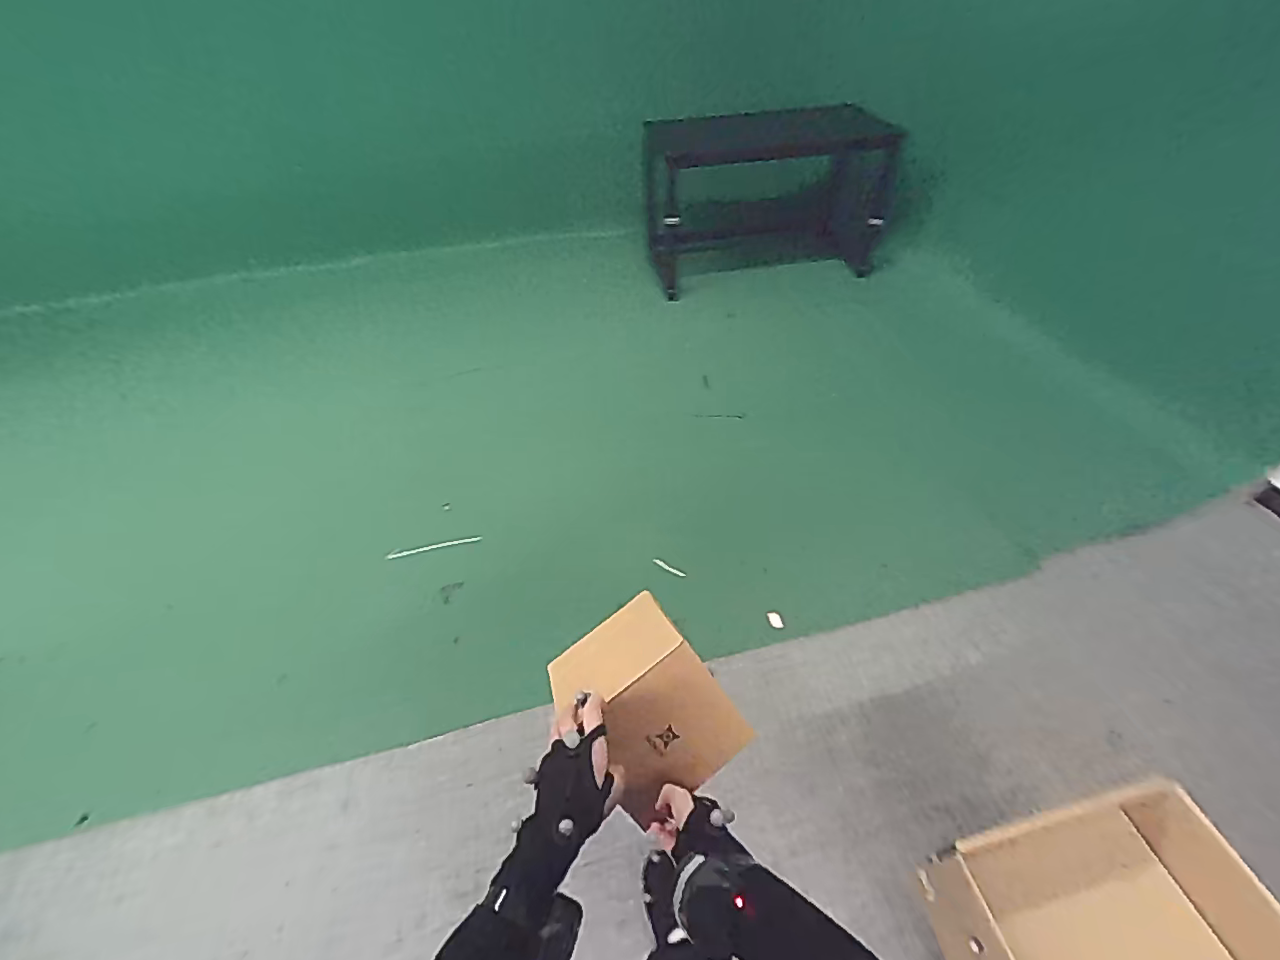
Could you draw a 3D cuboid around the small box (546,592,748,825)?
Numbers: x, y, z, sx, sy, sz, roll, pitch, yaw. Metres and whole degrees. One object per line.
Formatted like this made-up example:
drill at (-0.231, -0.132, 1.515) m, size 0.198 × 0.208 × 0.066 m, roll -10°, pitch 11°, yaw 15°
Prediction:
small box at (-0.002, 0.274, 0.689) m, size 0.179 × 0.168 × 0.176 m, roll -38°, pitch 17°, yaw -5°
